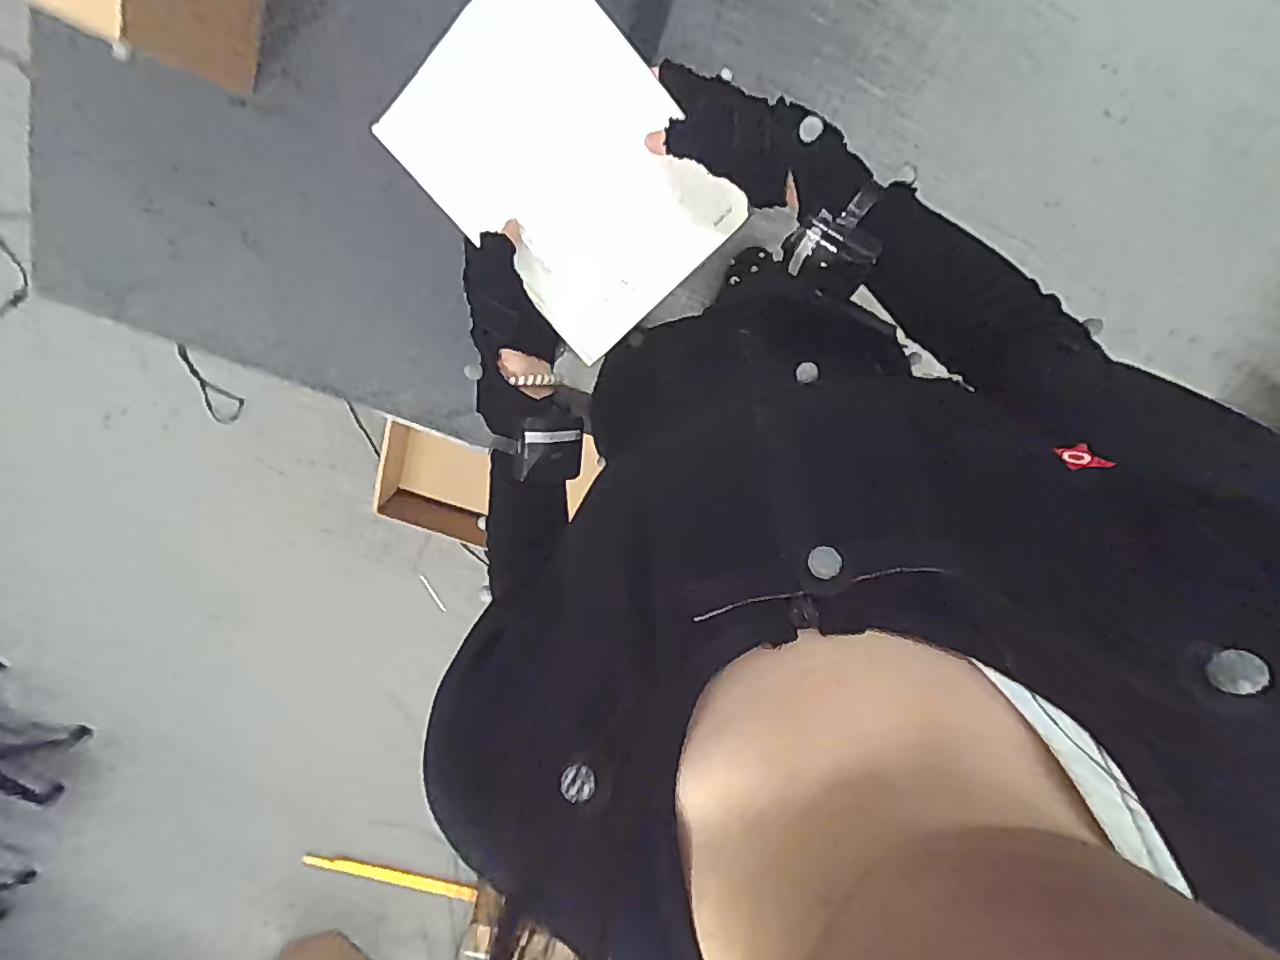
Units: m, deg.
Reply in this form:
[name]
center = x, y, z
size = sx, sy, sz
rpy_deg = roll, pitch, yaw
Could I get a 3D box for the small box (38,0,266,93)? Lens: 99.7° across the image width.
[small box]
center = -0.475, -0.504, 0.491
size = 0.168, 0.176, 0.179
rpy_deg = 23, 109, -8
